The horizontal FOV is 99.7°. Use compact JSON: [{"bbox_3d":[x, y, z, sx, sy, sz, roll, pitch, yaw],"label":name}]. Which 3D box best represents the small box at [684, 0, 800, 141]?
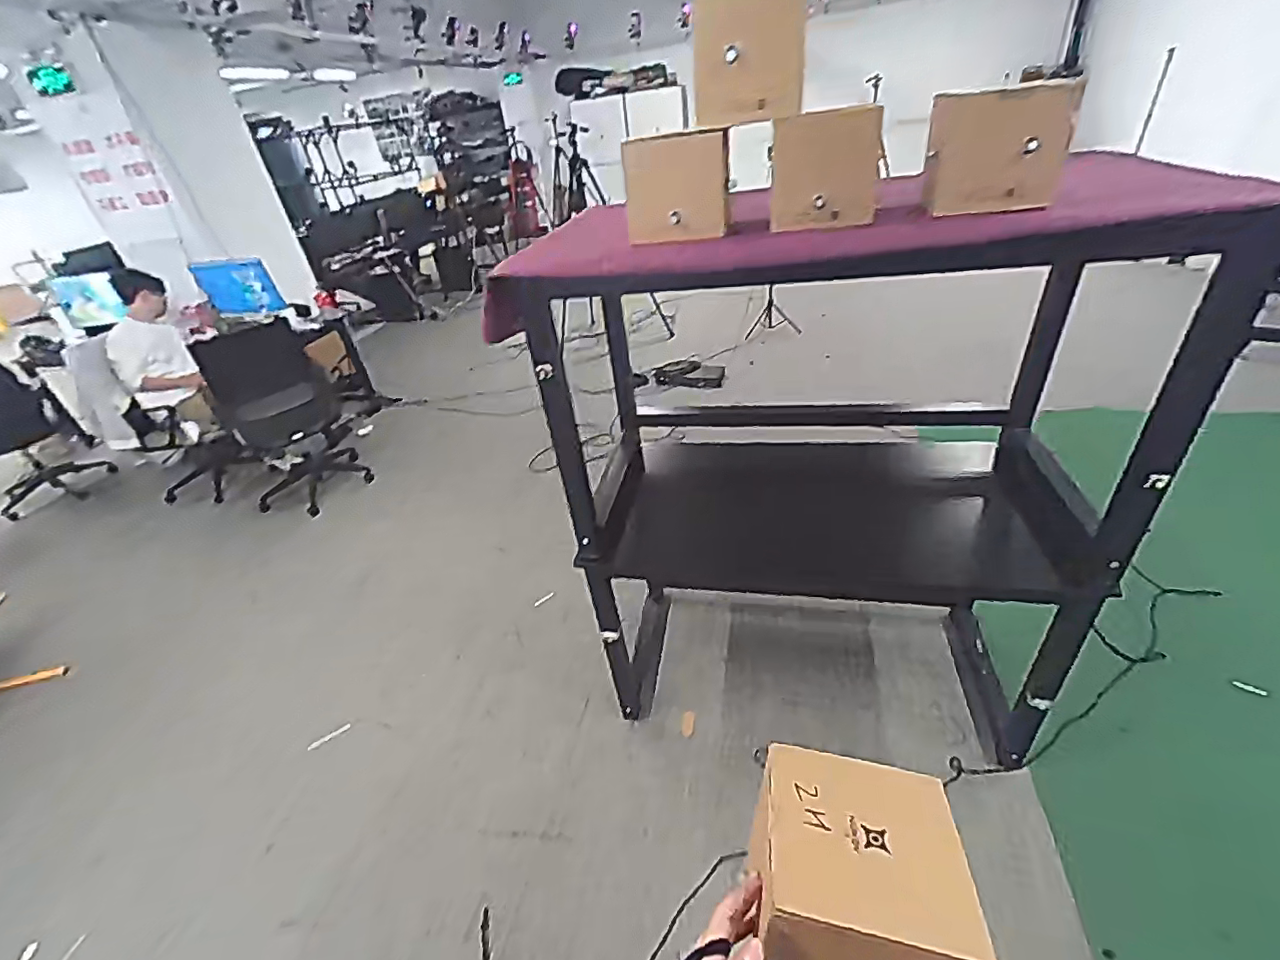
[{"bbox_3d":[0.174,-0.662,0.880,0.168,0.176,0.179,1,34,16],"label":"small box"}]

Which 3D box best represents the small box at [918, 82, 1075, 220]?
[{"bbox_3d":[0.562,-0.528,0.880,0.168,0.176,0.179,3,34,18],"label":"small box"}]

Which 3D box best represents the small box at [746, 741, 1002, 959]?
[{"bbox_3d":[0.205,0.396,0.526,0.179,0.176,0.168,7,24,11],"label":"small box"}]

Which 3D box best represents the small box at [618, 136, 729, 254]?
[{"bbox_3d":[0.072,-0.530,1.004,0.179,0.176,0.168,1,35,14],"label":"small box"}]
